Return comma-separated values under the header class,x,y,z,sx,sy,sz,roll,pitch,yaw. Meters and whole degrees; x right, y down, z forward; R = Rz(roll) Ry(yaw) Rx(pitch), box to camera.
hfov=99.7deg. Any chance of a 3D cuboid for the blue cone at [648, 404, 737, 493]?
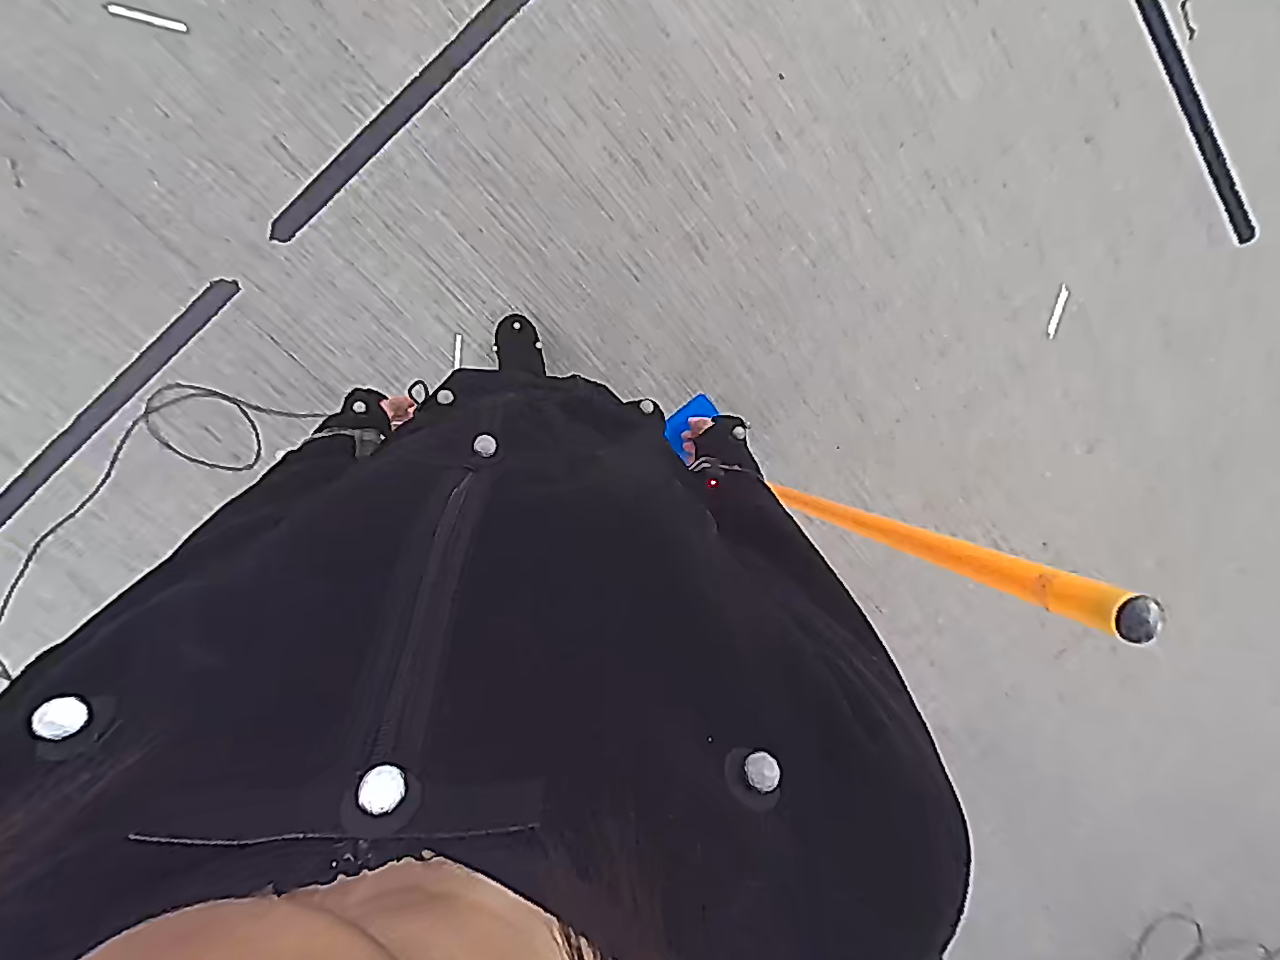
class,x,y,z,sx,sy,sz,roll,pitch,yaw
blue cone,0.161,-0.045,1.277,0.192,0.380,0.193,-38,106,5
